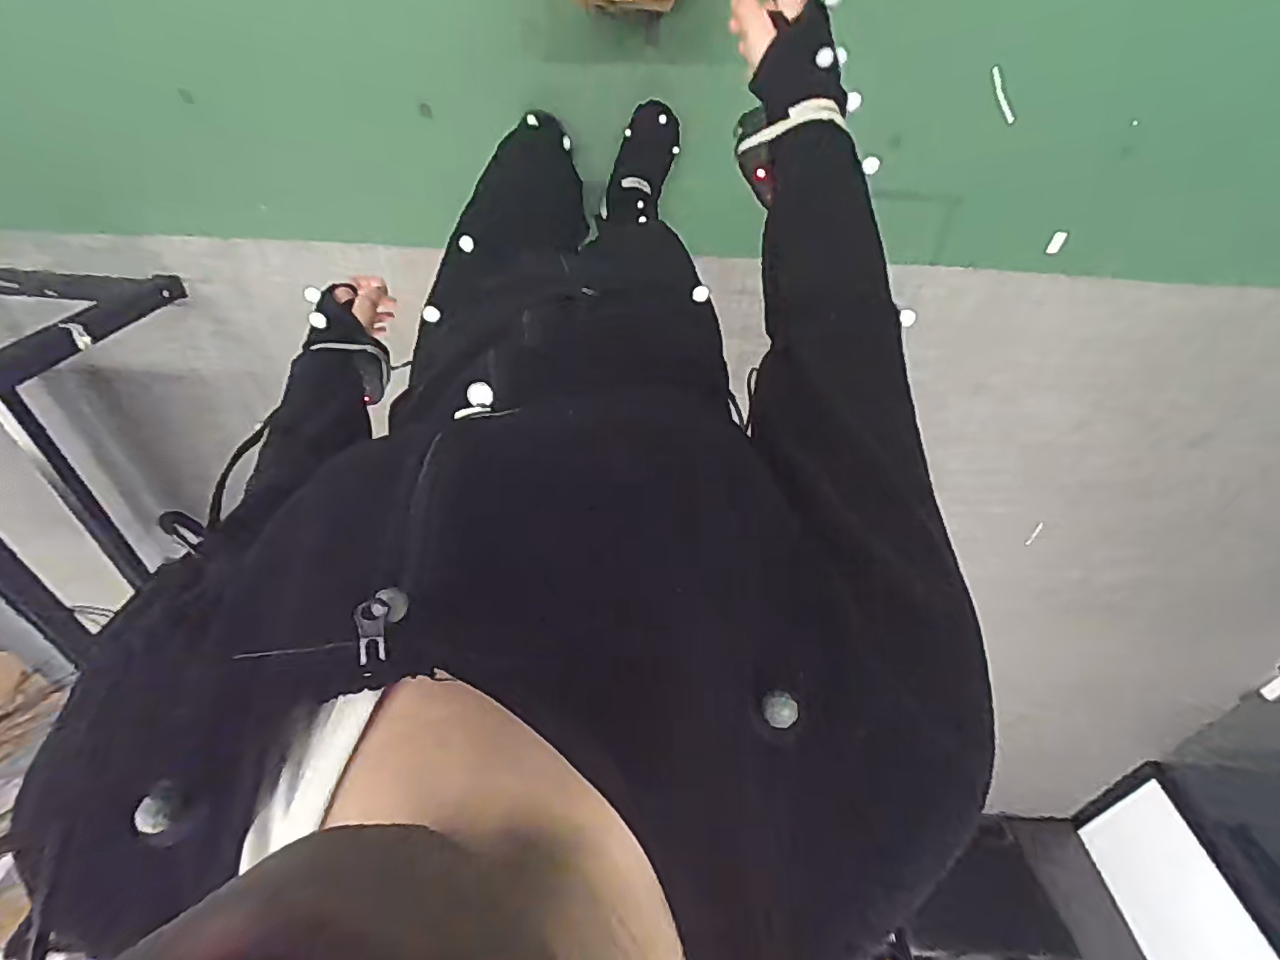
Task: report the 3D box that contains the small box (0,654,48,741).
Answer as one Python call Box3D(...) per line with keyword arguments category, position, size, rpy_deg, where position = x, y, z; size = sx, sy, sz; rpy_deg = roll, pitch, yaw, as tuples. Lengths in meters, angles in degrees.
Box3D(category="small box", position=(-1.416, 0.467, 1.112), size=(0.179, 0.176, 0.168), rpy_deg=(3, 129, 0))

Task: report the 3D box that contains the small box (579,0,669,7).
Box3D(category="small box", position=(-0.031, -0.808, 0.778), size=(0.168, 0.176, 0.179), rpy_deg=(3, 129, -1))
